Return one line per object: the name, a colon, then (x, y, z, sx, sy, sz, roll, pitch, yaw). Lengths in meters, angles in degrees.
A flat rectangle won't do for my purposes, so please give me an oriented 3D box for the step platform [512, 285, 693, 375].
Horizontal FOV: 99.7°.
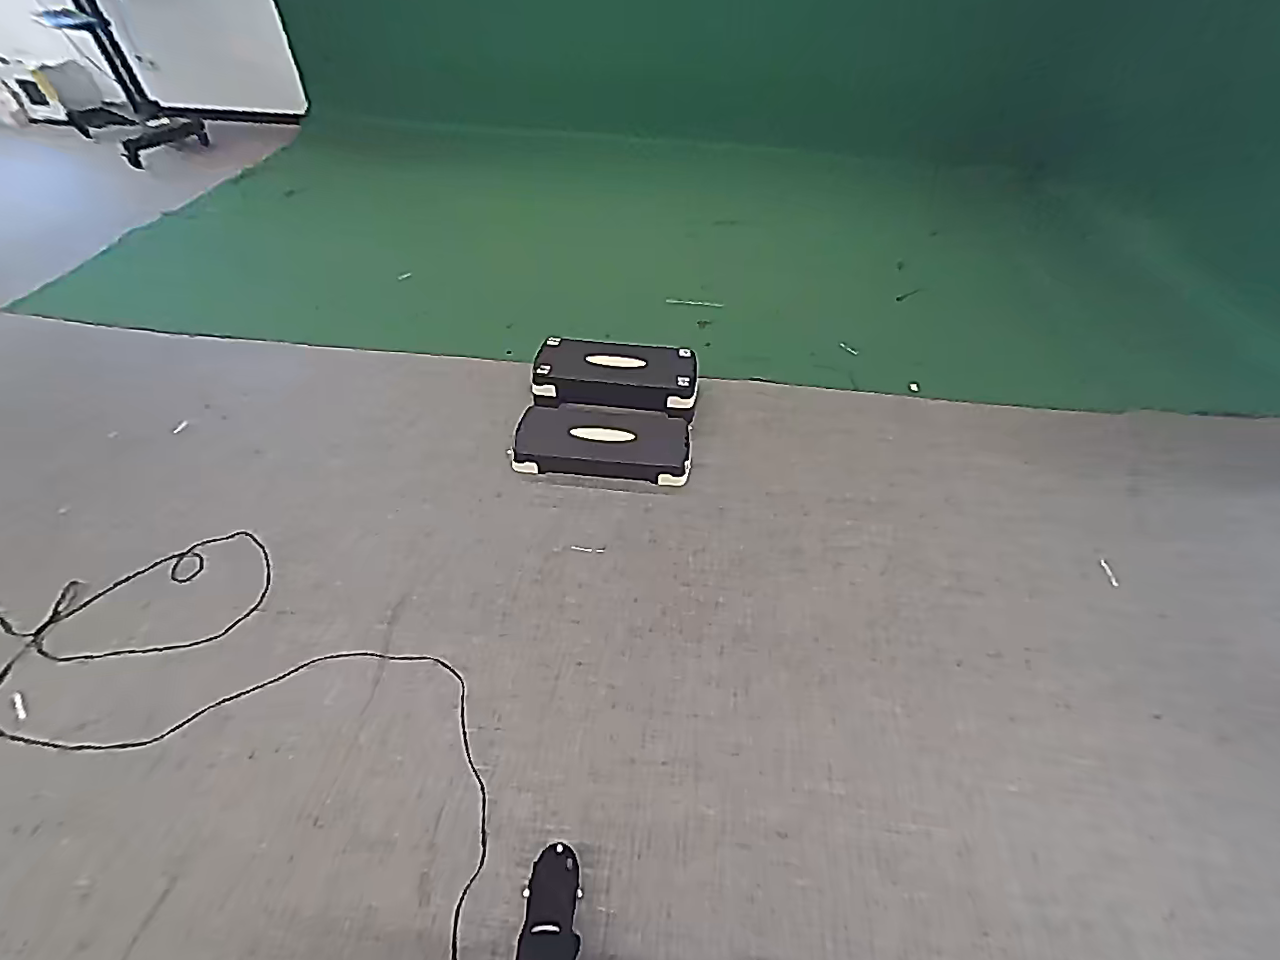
step platform: (-0.140, -0.592, 2.137, 0.684, 0.204, 0.286, 5, 48, 2)
